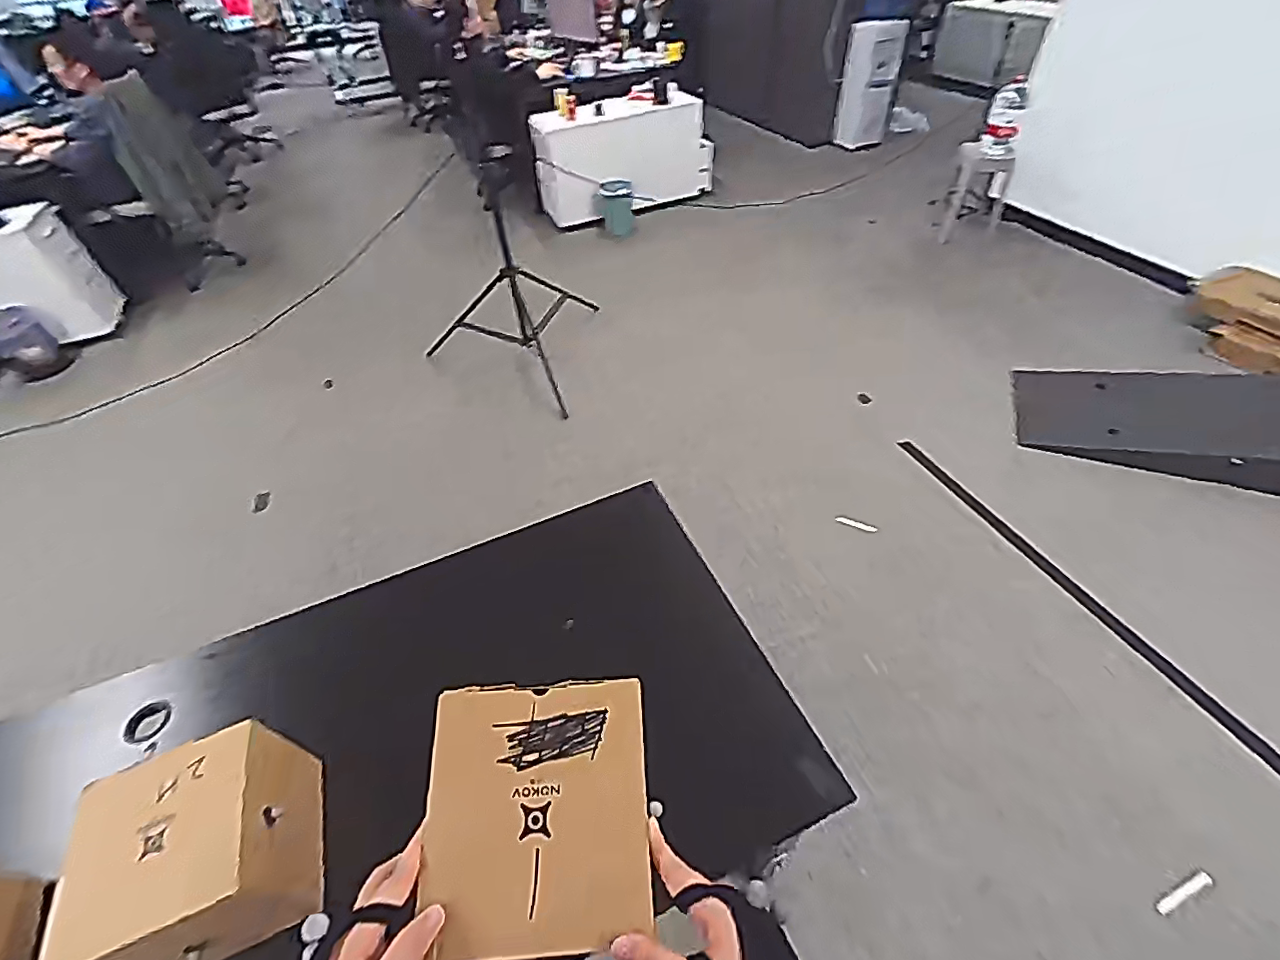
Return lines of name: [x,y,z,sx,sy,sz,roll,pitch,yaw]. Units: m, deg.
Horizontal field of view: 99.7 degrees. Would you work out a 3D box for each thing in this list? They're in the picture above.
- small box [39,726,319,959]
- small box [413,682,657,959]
small box: [-0.477,0.413,0.597,0.168,0.176,0.179,-19,48,-14]
small box: [-0.076,0.287,0.472,0.168,0.176,0.179,-2,59,-3]
